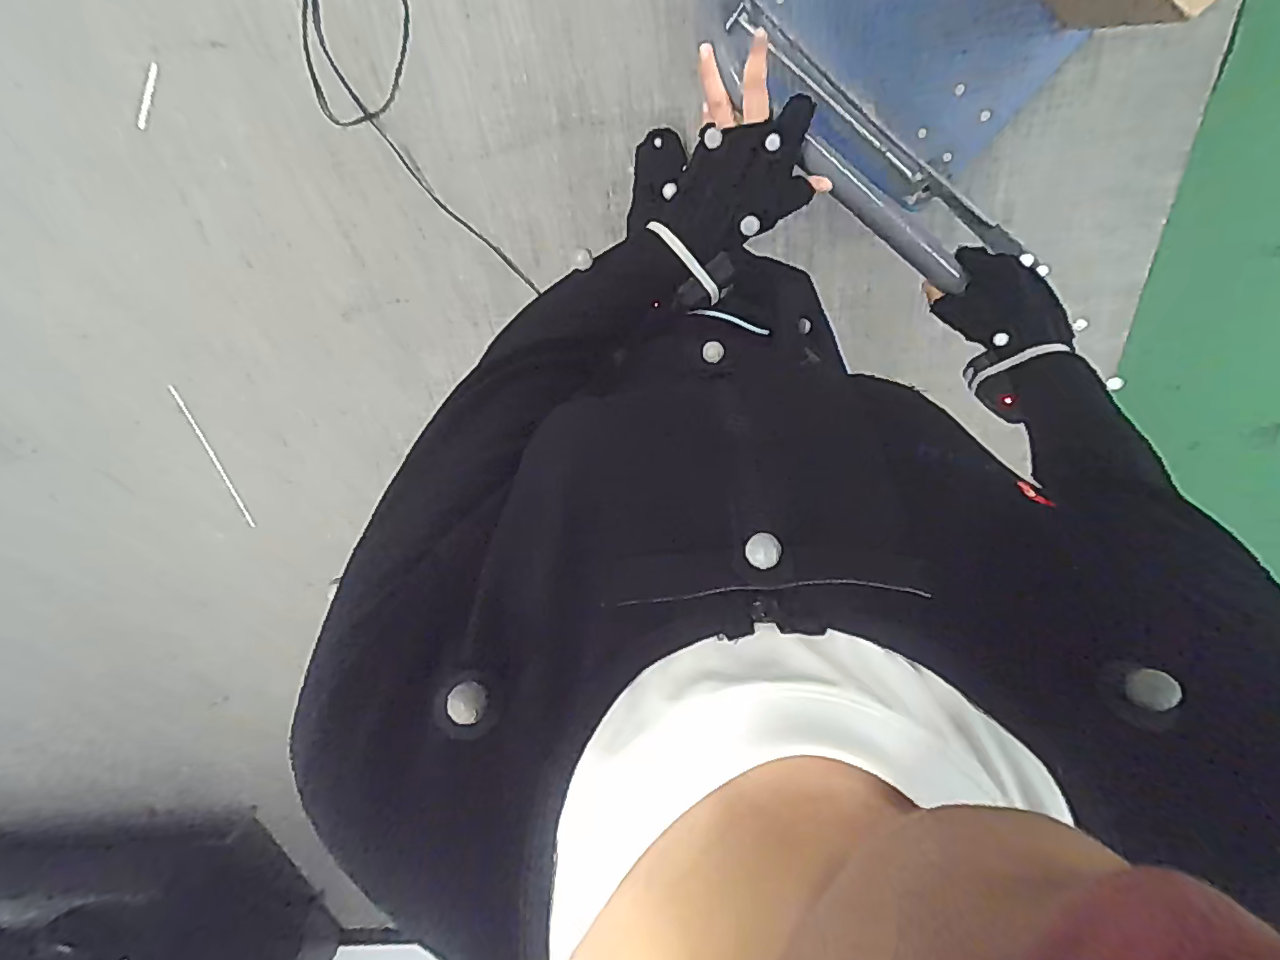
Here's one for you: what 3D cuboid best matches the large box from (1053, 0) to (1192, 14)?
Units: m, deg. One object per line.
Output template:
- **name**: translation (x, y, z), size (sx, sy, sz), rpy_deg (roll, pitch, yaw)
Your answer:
- **large box**: translation (0.610, -0.869, 0.662), size (0.408, 0.320, 0.320), rpy_deg (29, 127, -13)
